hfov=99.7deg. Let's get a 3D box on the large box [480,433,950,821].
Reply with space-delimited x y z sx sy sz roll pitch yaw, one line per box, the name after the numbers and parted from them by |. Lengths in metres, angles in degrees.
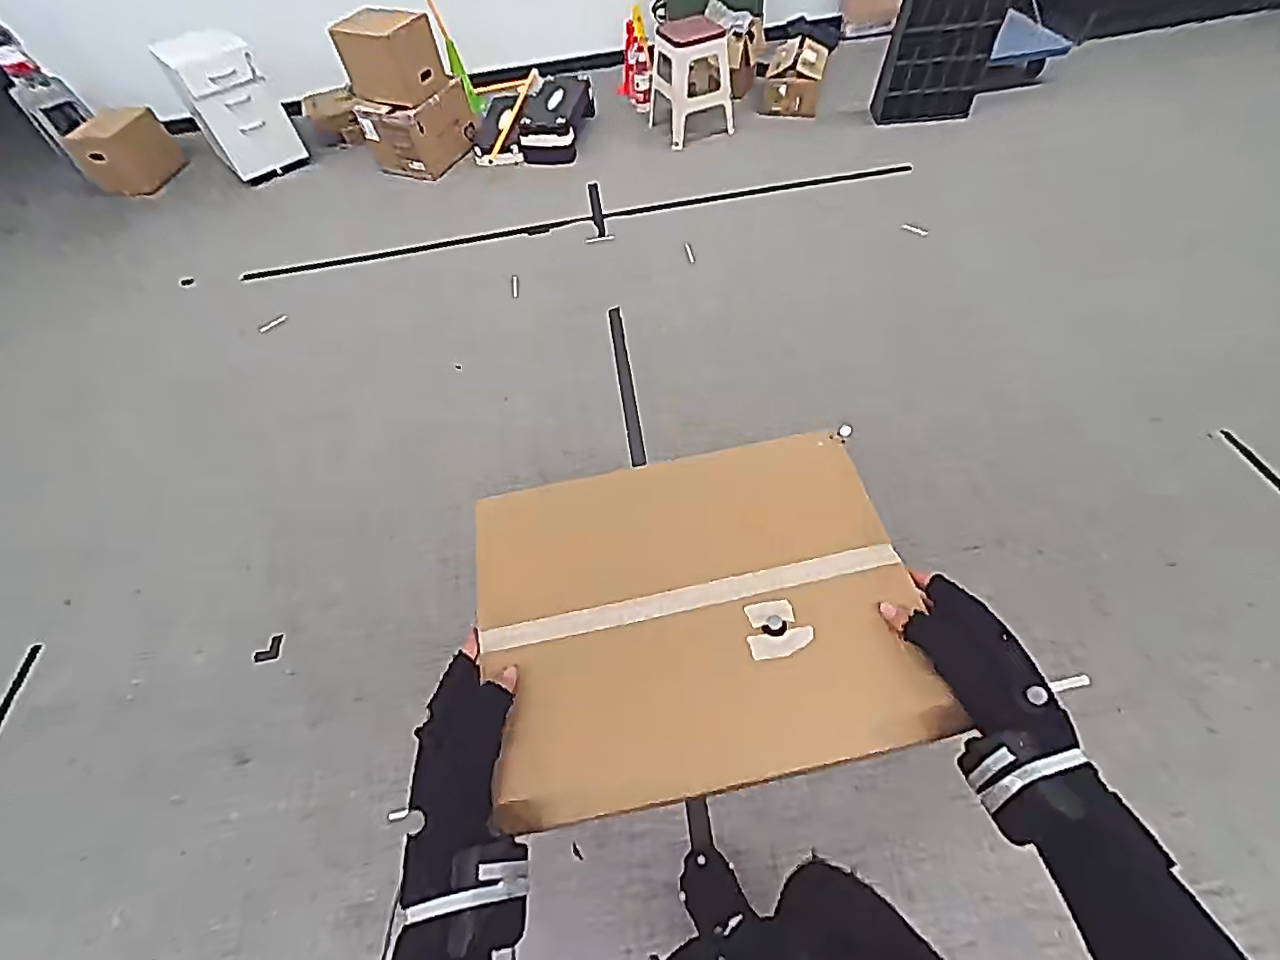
0.055 0.190 0.657 0.408 0.320 0.320 -12 59 -2 | large box
